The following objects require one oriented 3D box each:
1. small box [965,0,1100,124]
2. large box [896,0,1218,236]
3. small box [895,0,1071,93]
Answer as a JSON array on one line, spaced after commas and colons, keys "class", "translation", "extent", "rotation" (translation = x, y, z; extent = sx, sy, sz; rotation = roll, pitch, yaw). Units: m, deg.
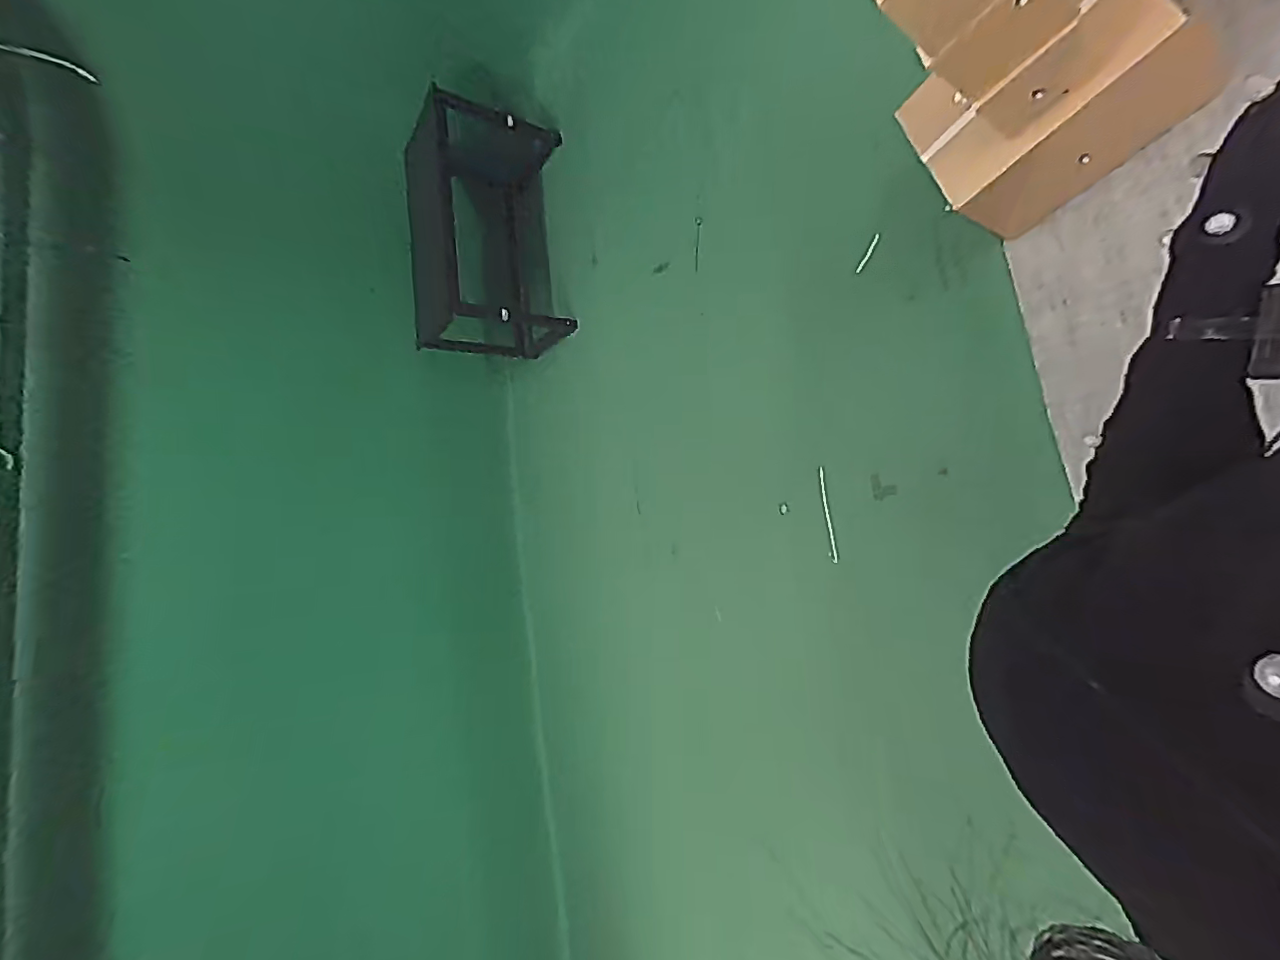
[{"class": "small box", "translation": [0.686, -0.788, 0.981], "extent": [0.168, 0.176, 0.179], "rotation": [-32, 67, 49]}, {"class": "large box", "translation": [0.861, -0.815, 1.156], "extent": [0.408, 0.320, 0.320], "rotation": [-41, 59, 48]}, {"class": "small box", "translation": [0.556, -0.790, 0.884], "extent": [0.179, 0.176, 0.168], "rotation": [-30, 69, 49]}]
